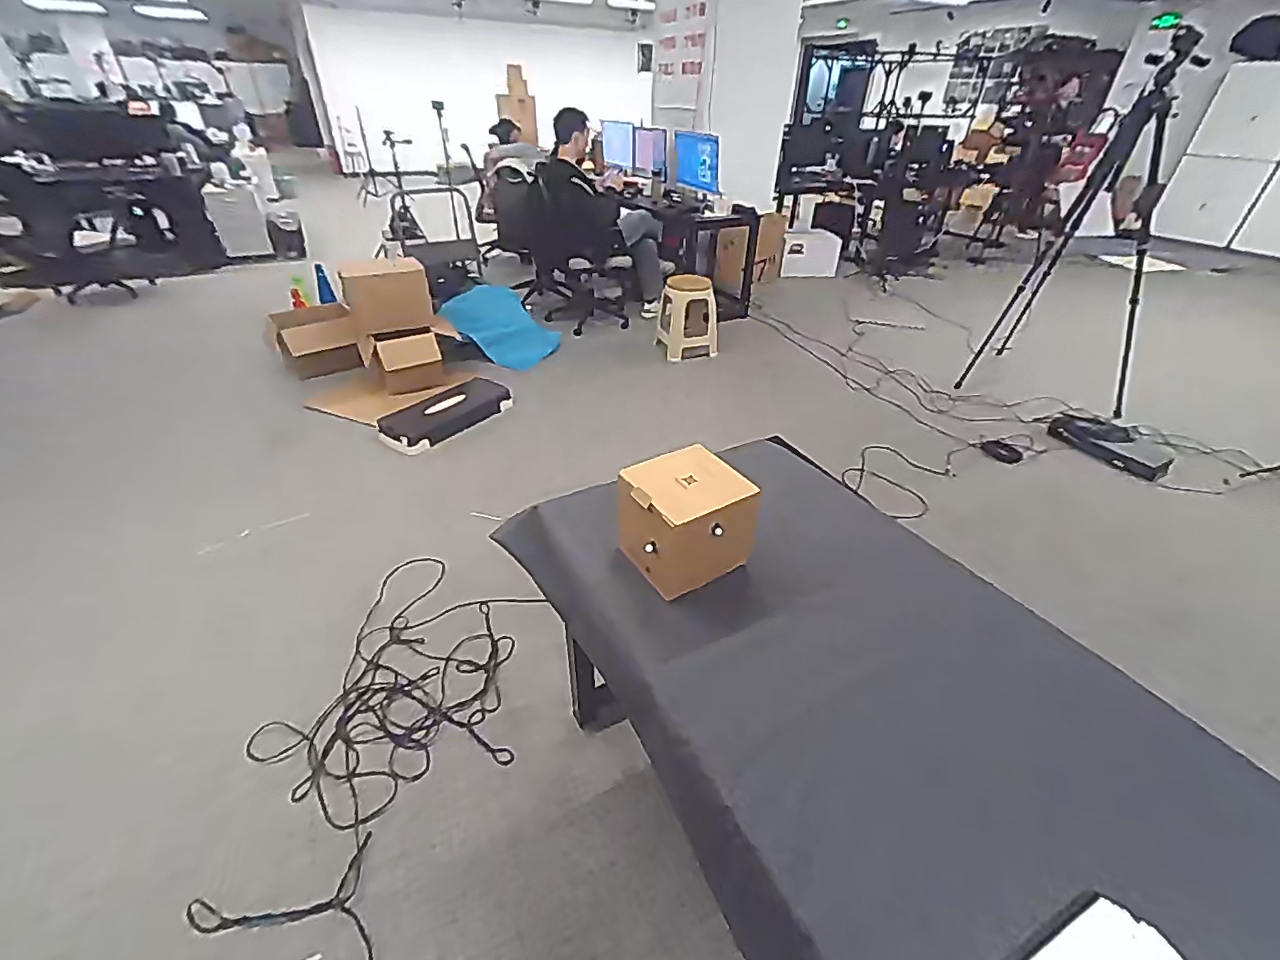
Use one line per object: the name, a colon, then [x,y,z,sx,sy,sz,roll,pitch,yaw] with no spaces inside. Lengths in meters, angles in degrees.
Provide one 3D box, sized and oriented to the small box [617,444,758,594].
small box: [0.075,0.065,0.928,0.179,0.176,0.168,-18,41,-28]
